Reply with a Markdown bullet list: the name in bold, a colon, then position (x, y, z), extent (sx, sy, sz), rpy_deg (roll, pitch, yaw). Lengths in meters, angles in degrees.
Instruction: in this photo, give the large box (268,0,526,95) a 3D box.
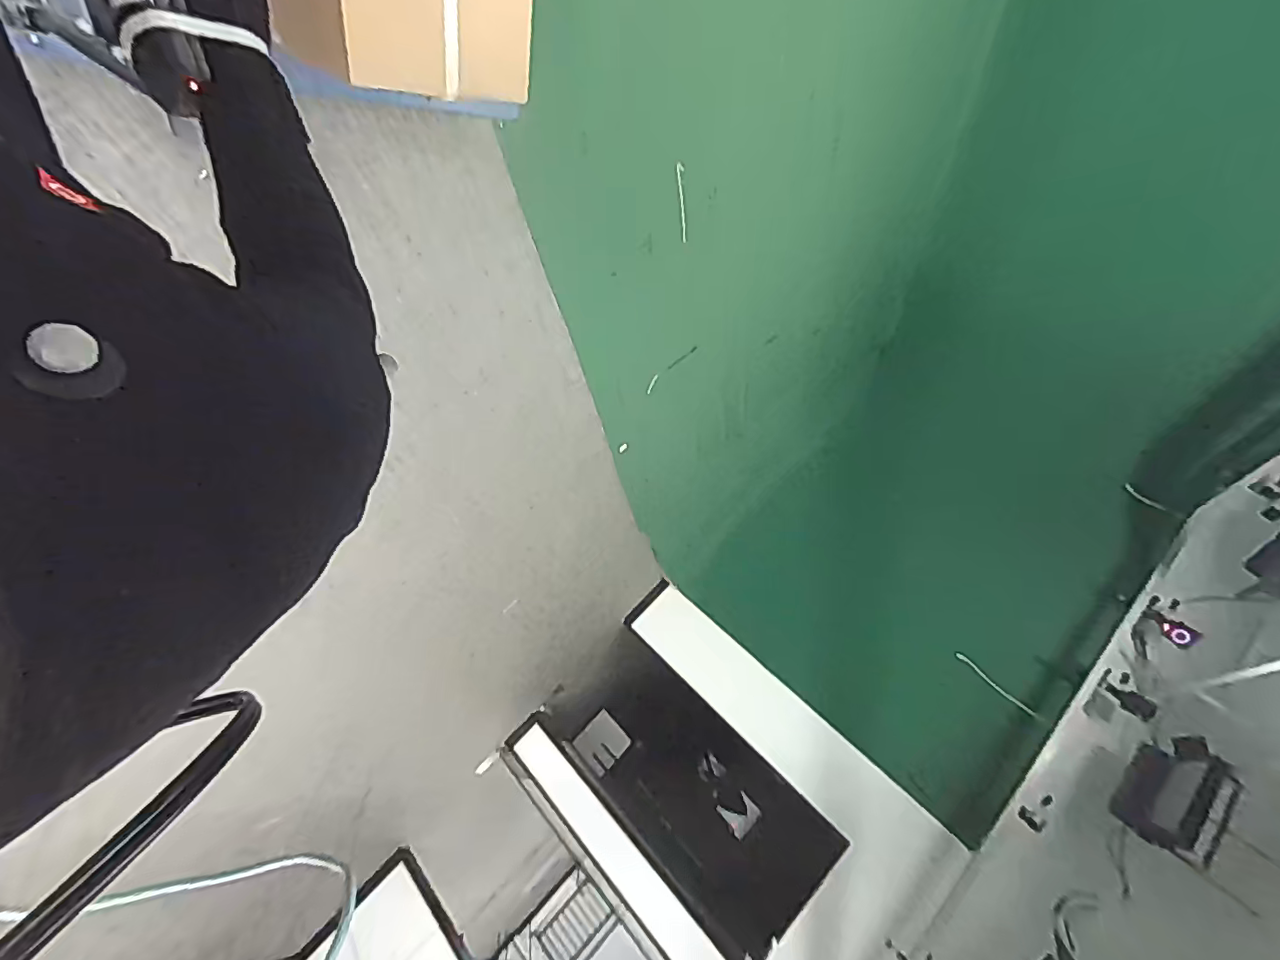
- **large box**: position (-0.389, -0.872, 0.834), extent (0.320, 0.320, 0.408), rpy_deg (-27, 143, -39)
